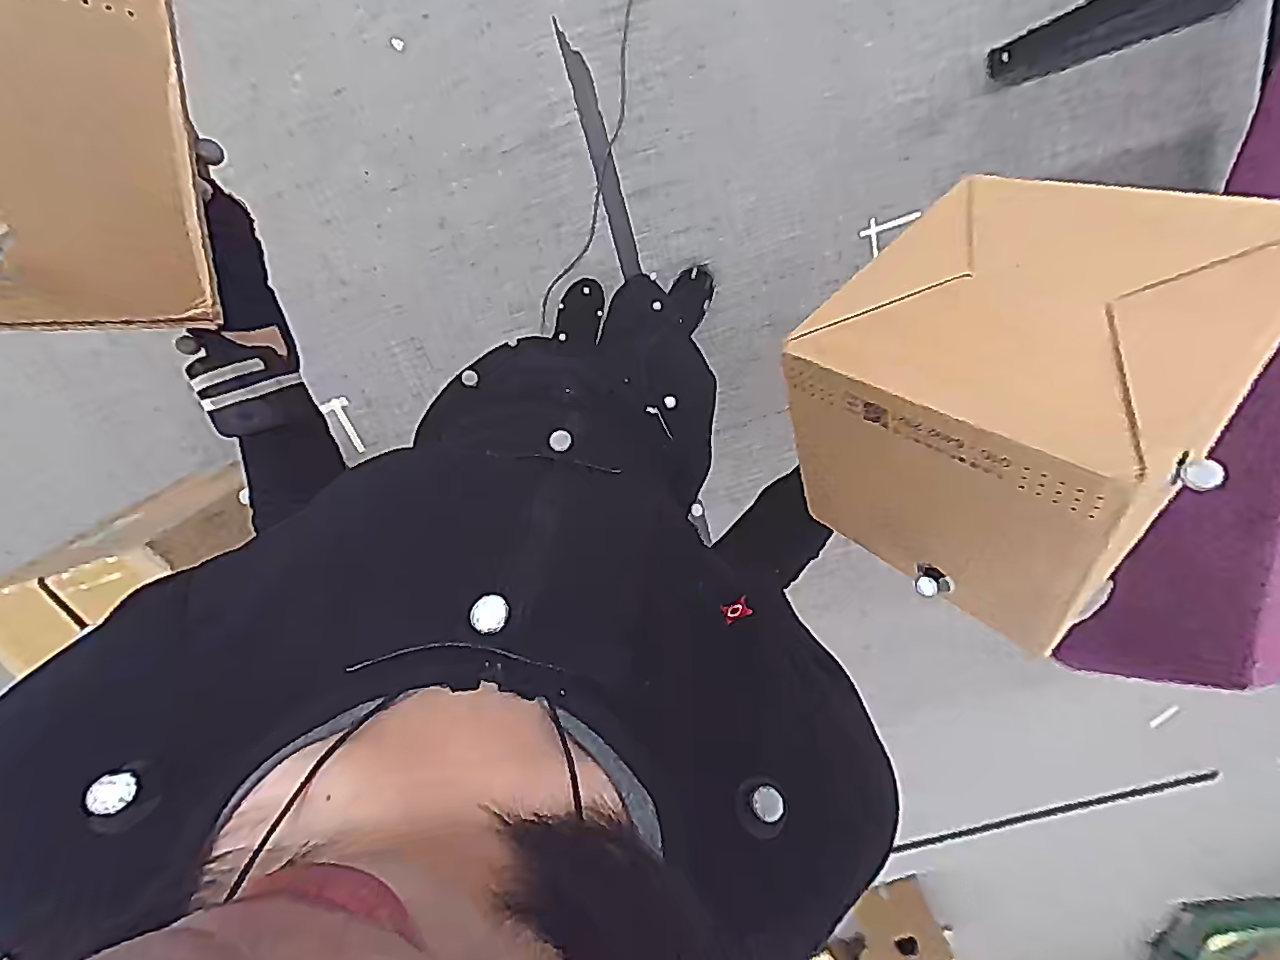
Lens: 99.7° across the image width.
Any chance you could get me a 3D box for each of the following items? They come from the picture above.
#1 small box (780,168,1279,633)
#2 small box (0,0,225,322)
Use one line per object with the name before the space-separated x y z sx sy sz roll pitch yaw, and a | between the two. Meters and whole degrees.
small box | 0.207 -0.053 0.307 0.179 0.168 0.176 -44 137 -11
small box | -0.314 -0.184 0.235 0.179 0.168 0.176 -13 135 -39
